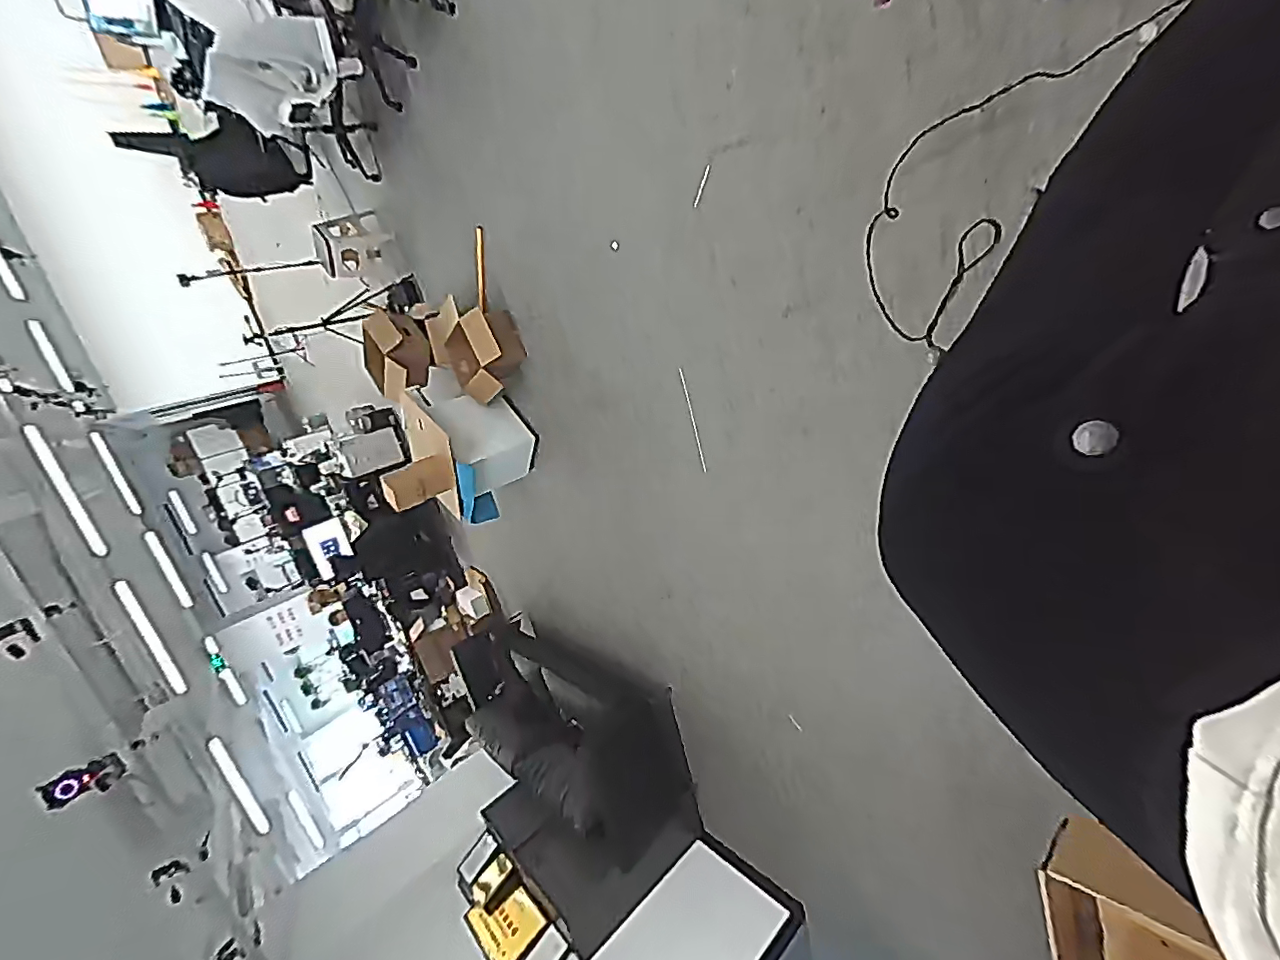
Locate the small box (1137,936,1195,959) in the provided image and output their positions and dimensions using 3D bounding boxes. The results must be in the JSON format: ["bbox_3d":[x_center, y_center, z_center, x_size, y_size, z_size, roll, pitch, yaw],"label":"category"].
[{"bbox_3d":[1.199,1.171,1.183,0.168,0.176,0.179,2,114,51],"label":"small box"}]
